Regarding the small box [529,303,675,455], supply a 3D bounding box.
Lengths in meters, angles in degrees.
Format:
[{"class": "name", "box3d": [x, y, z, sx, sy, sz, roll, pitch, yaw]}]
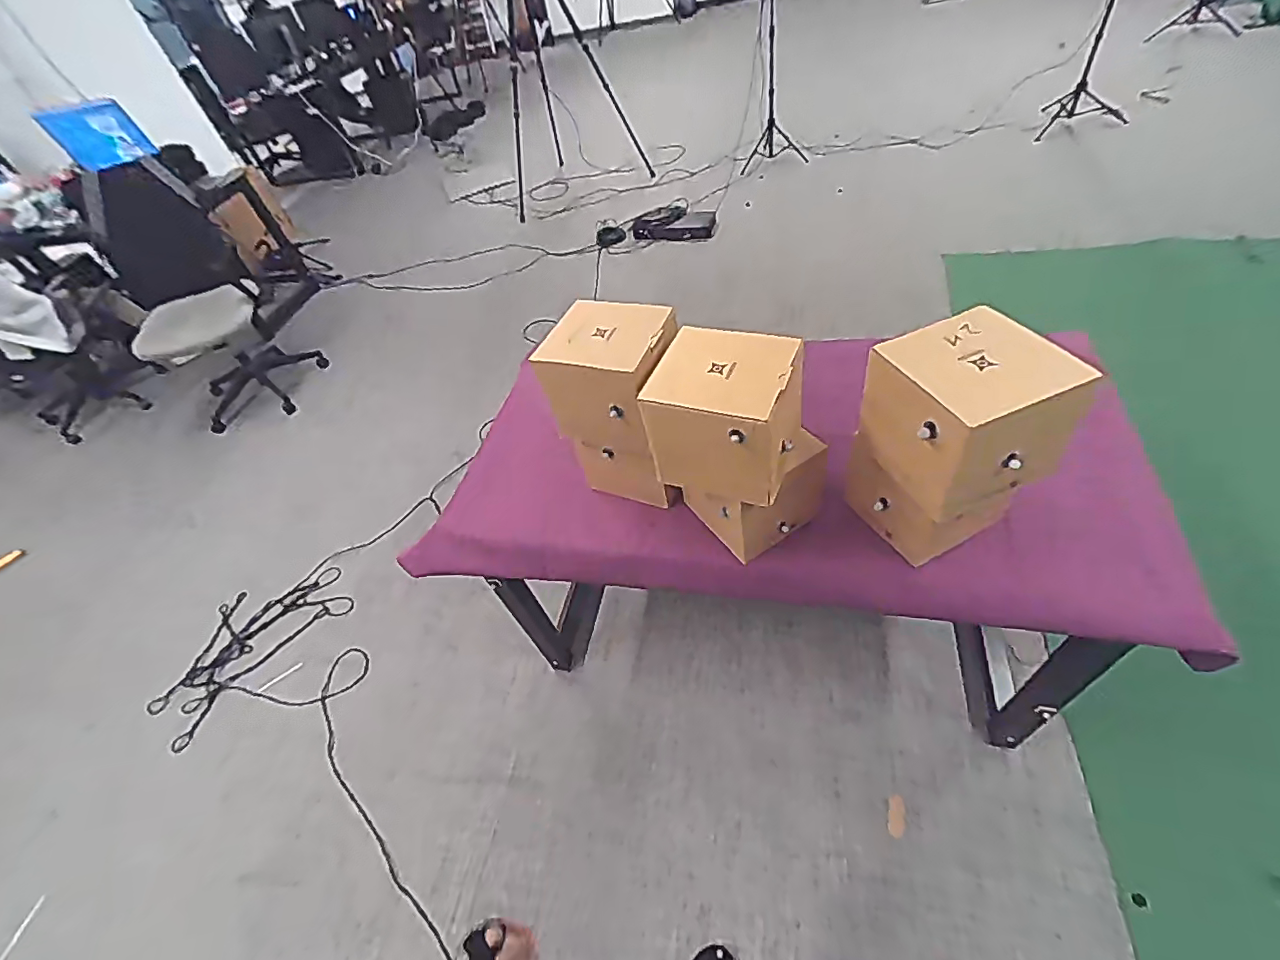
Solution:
[{"class": "small box", "box3d": [-0.042, -0.161, 0.870, 0.179, 0.176, 0.168, 12, 52, 22]}]

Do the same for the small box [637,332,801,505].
[{"class": "small box", "box3d": [0.118, -0.086, 0.767, 0.179, 0.176, 0.168, 13, 53, 23]}]

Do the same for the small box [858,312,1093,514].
[{"class": "small box", "box3d": [0.405, -0.078, 0.691, 0.168, 0.176, 0.179, -20, 46, -6]}]

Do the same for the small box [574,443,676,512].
[{"class": "small box", "box3d": [-0.011, -0.067, 1.005, 0.179, 0.176, 0.168, 21, 55, 21]}]

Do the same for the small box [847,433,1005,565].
[{"class": "small box", "box3d": [0.442, 0.001, 0.837, 0.179, 0.176, 0.168, -26, 48, -10]}]
